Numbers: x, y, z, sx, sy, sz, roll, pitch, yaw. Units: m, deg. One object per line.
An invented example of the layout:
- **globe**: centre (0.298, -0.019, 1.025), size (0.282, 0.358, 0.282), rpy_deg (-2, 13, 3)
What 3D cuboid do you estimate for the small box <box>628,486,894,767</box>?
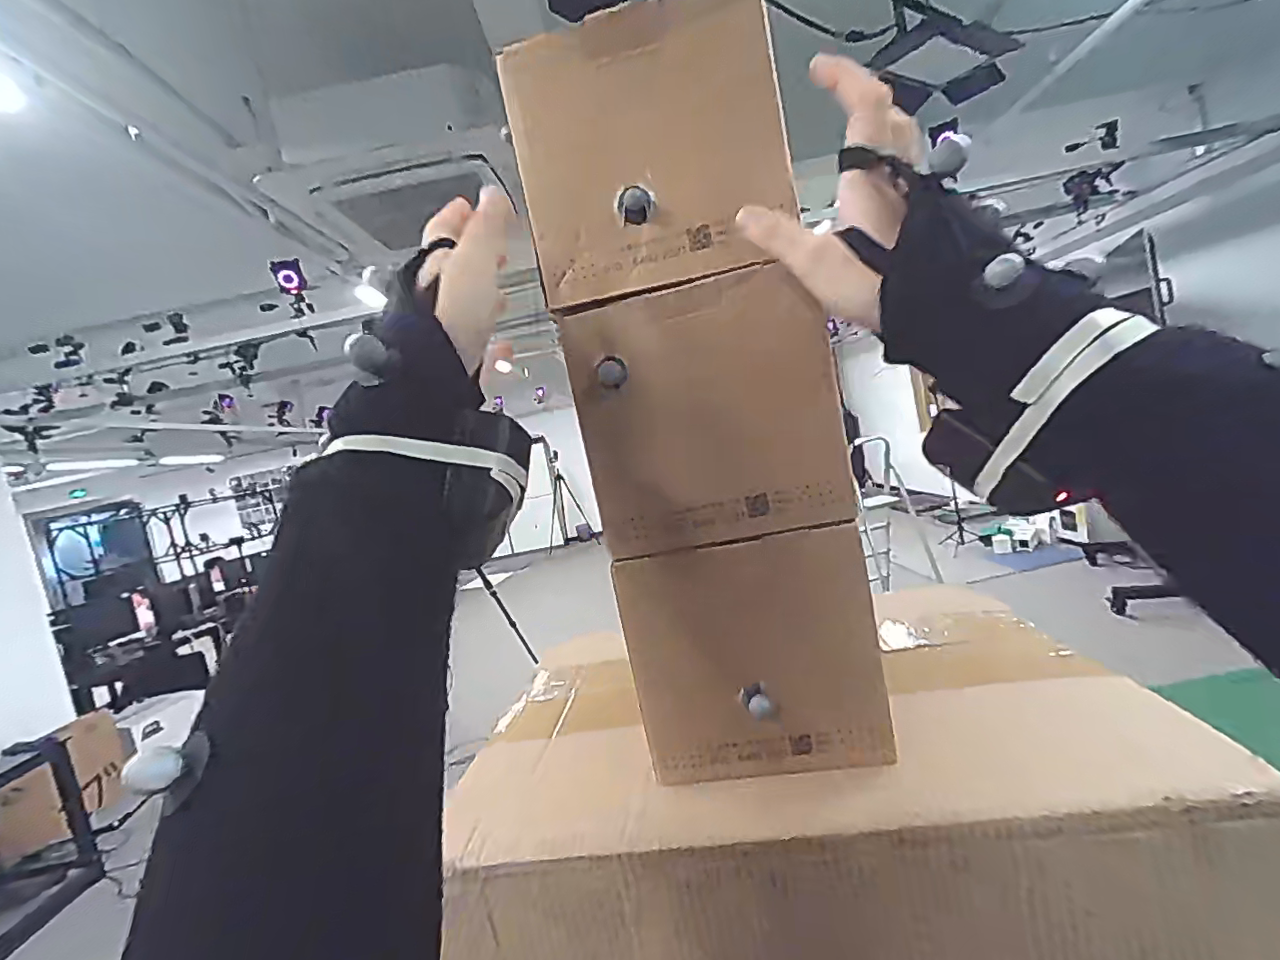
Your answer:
- **small box**: centre (0.096, 0.109, 0.457), size (0.168, 0.176, 0.179), rpy_deg (-10, 6, 9)
